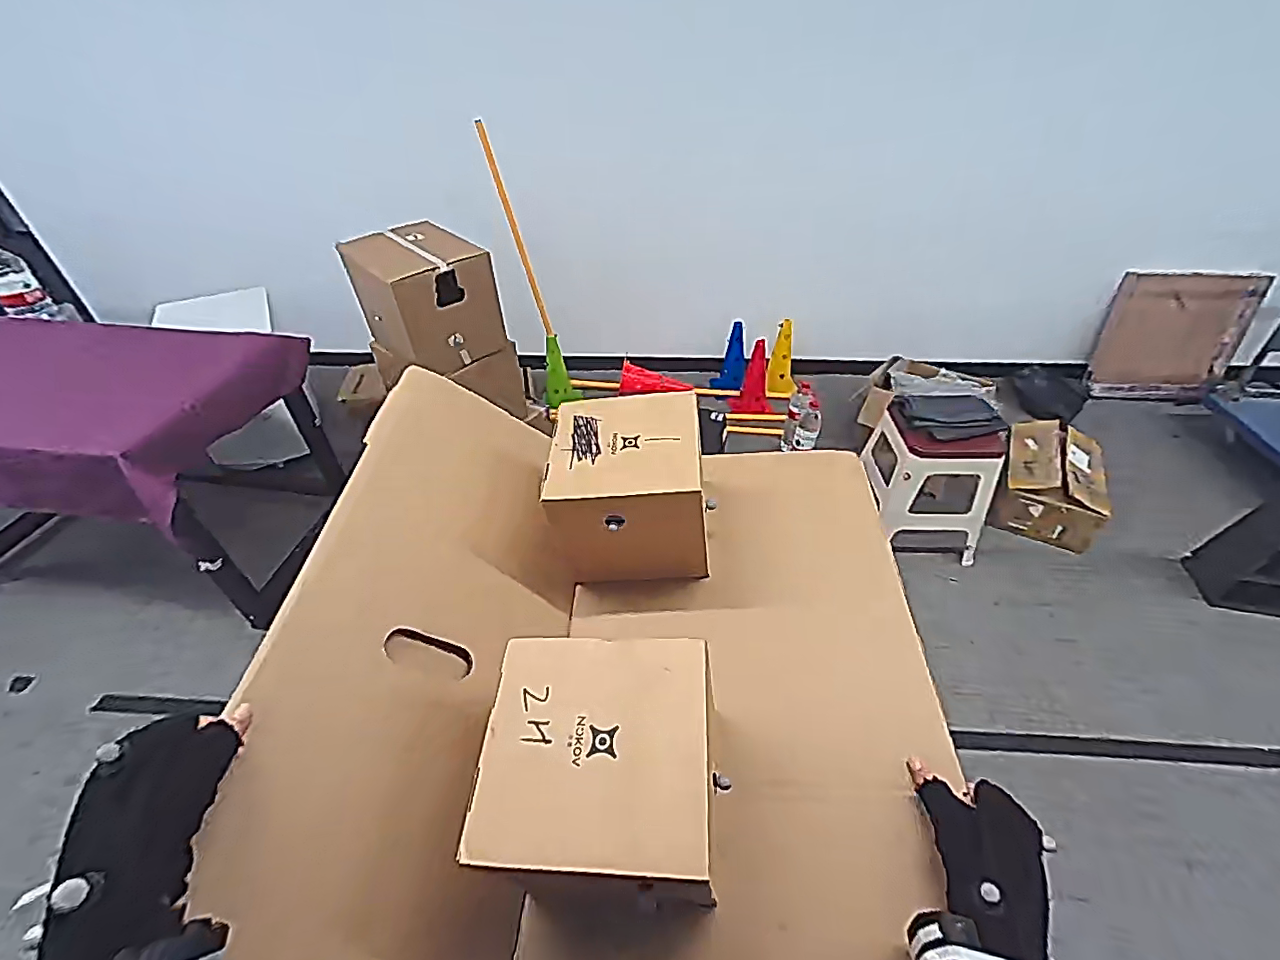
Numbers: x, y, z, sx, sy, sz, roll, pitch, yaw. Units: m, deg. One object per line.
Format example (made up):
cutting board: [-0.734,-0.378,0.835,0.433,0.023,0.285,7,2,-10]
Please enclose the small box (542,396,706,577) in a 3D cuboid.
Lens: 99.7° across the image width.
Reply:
small box: [-0.009,0.013,0.699,0.179,0.176,0.168,-4,48,7]
